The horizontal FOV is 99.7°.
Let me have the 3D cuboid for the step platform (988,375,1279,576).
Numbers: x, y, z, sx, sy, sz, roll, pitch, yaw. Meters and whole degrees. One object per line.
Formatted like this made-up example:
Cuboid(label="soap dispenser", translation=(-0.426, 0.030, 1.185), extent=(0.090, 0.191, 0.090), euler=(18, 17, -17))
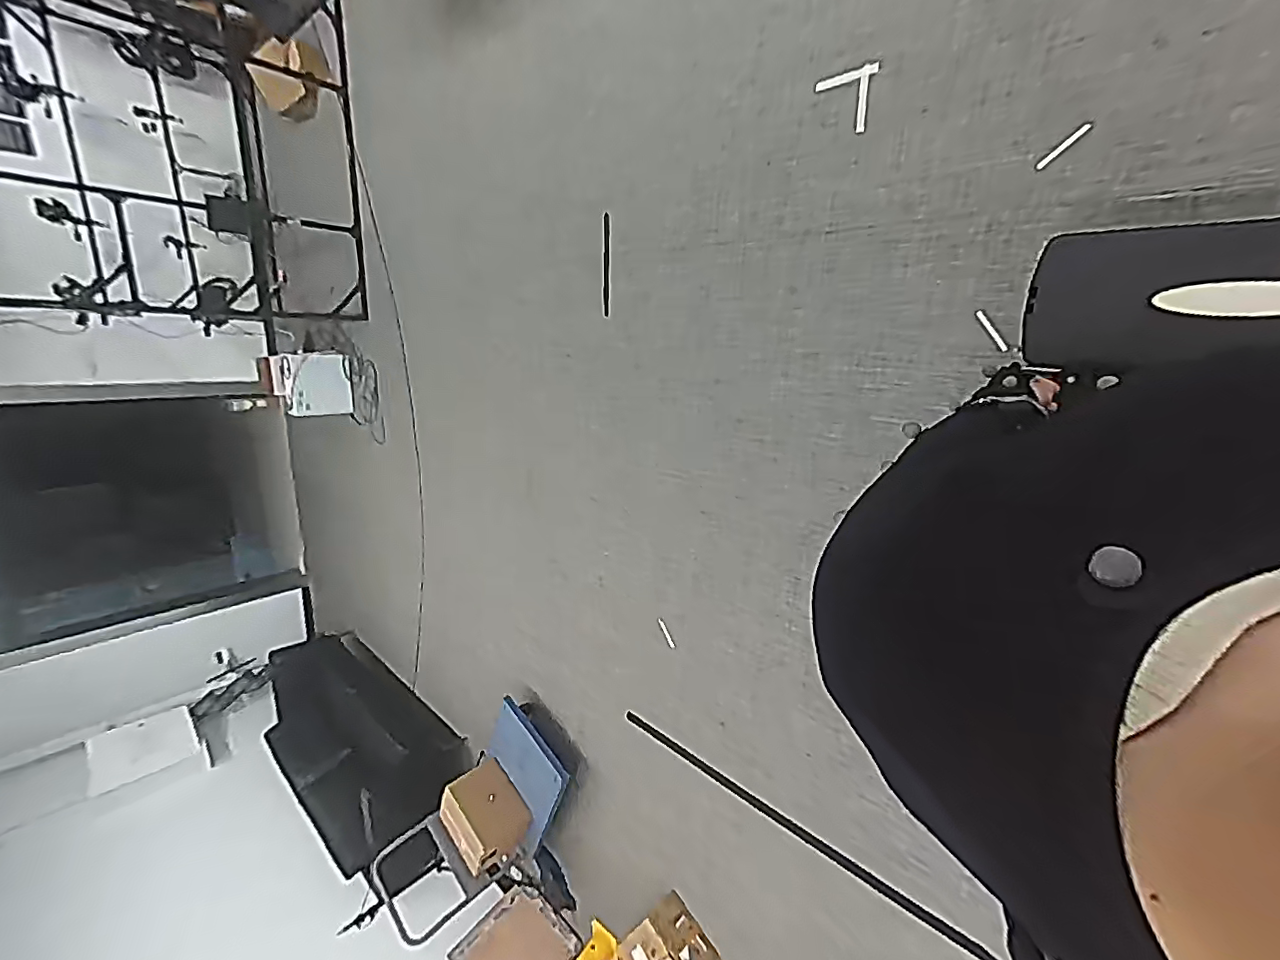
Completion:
Cuboid(label="step platform", translation=(1.087, -0.012, 1.048), extent=(0.684, 0.204, 0.286), euler=(23, 113, 41))
